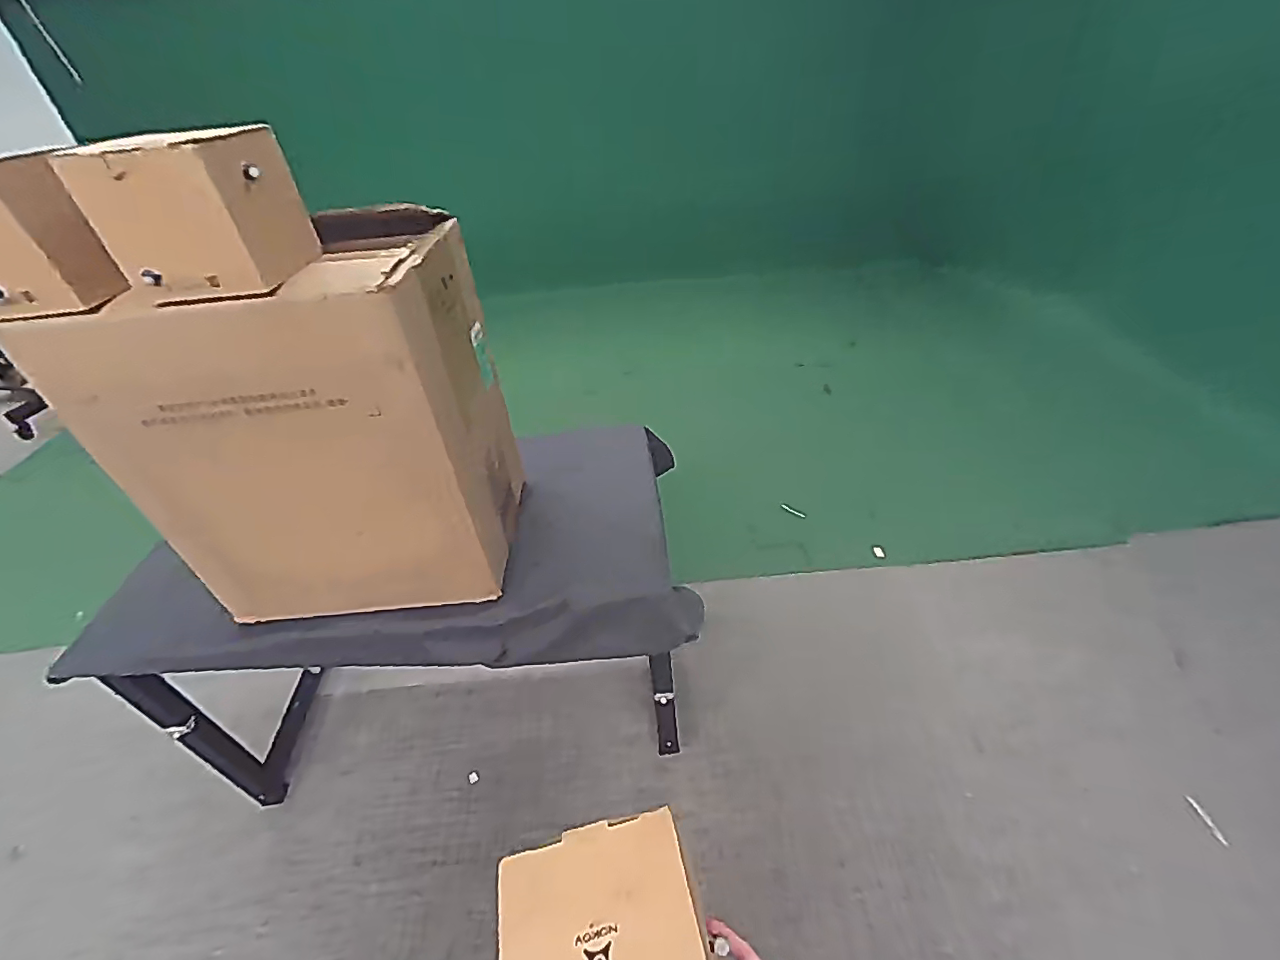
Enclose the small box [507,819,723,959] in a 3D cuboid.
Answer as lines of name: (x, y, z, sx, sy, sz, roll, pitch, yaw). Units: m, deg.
small box: (-0.010, 0.447, 0.475, 0.168, 0.176, 0.179, -17, 36, -4)
